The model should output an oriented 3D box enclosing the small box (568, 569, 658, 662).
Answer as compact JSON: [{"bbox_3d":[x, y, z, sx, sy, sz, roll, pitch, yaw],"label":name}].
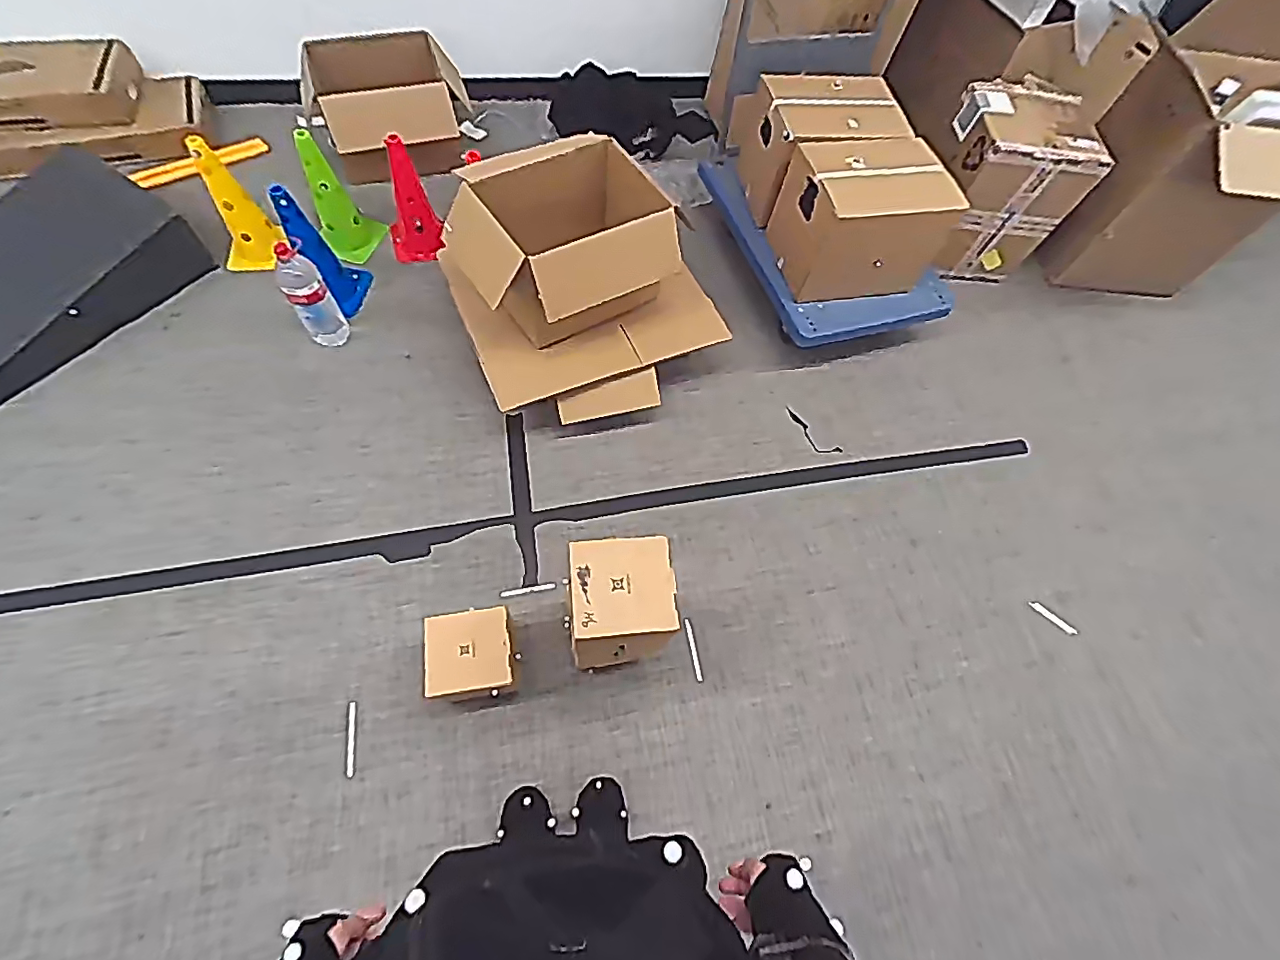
[{"bbox_3d":[-0.055,0.275,1.124,0.179,0.176,0.168,-5,66,-10],"label":"small box"}]

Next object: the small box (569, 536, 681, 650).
[{"bbox_3d":[-0.036,0.208,0.976,0.179,0.176,0.168,-2,65,-9],"label":"small box"}]

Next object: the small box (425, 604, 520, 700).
[{"bbox_3d":[-0.373,0.390,1.216,0.179,0.176,0.168,-7,65,-10],"label":"small box"}]
